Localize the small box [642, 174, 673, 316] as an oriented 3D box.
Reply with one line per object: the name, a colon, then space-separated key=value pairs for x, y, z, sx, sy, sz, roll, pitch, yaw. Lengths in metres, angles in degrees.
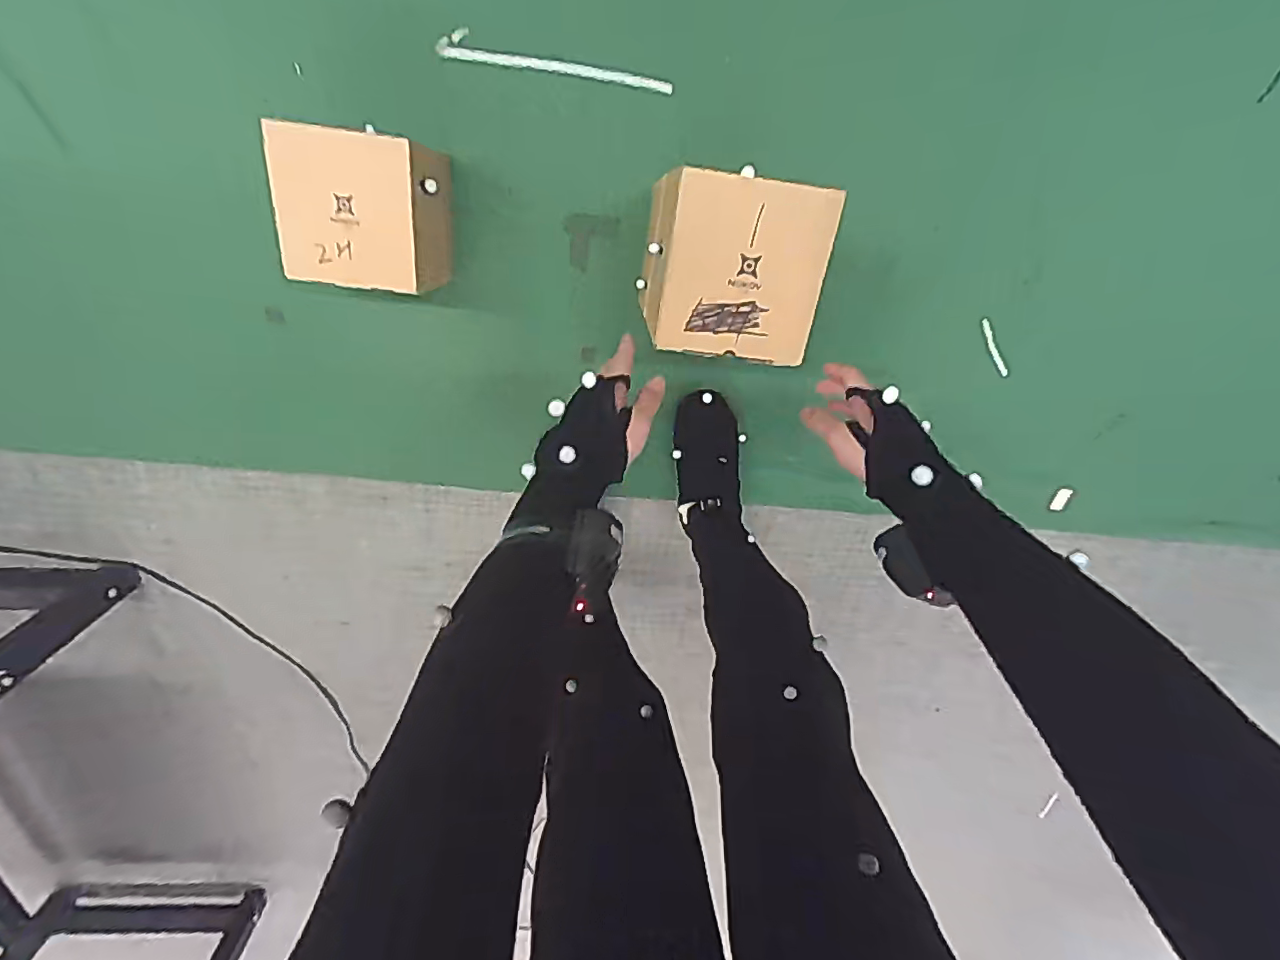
small box: x=0.096 y=-0.321 z=0.771 sx=0.168 sy=0.176 sz=0.179 roll=6 pitch=117 yaw=-6

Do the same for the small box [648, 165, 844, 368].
small box: x=0.104 y=-0.246 z=0.625 sx=0.168 sy=0.176 sz=0.179 roll=6 pitch=116 yaw=-7

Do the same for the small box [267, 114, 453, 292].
small box: x=-0.358 y=-0.364 z=0.727 sx=0.168 sy=0.176 sz=0.179 roll=6 pitch=116 yaw=-5
